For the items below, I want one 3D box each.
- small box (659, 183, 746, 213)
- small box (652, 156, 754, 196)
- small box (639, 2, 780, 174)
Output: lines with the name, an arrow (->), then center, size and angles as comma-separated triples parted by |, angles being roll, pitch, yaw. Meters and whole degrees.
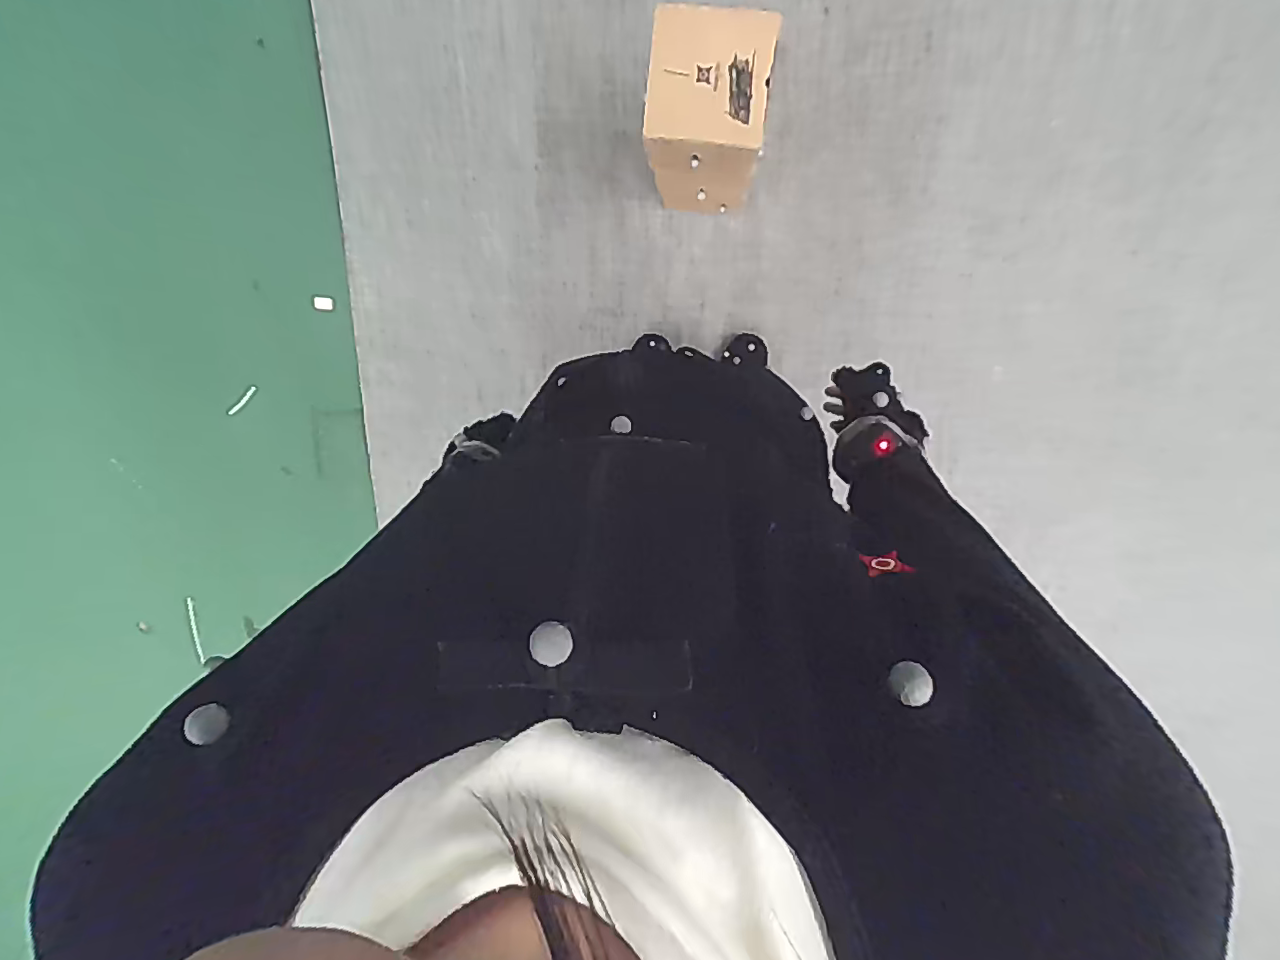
small box -> 0.138, -0.678, 1.154 | 0.179, 0.176, 0.168 | 5, 106, 5
small box -> 0.121, -0.635, 0.996 | 0.179, 0.176, 0.168 | 6, 107, 3
small box -> 0.103, -0.591, 0.839 | 0.179, 0.176, 0.168 | 9, 107, 4
